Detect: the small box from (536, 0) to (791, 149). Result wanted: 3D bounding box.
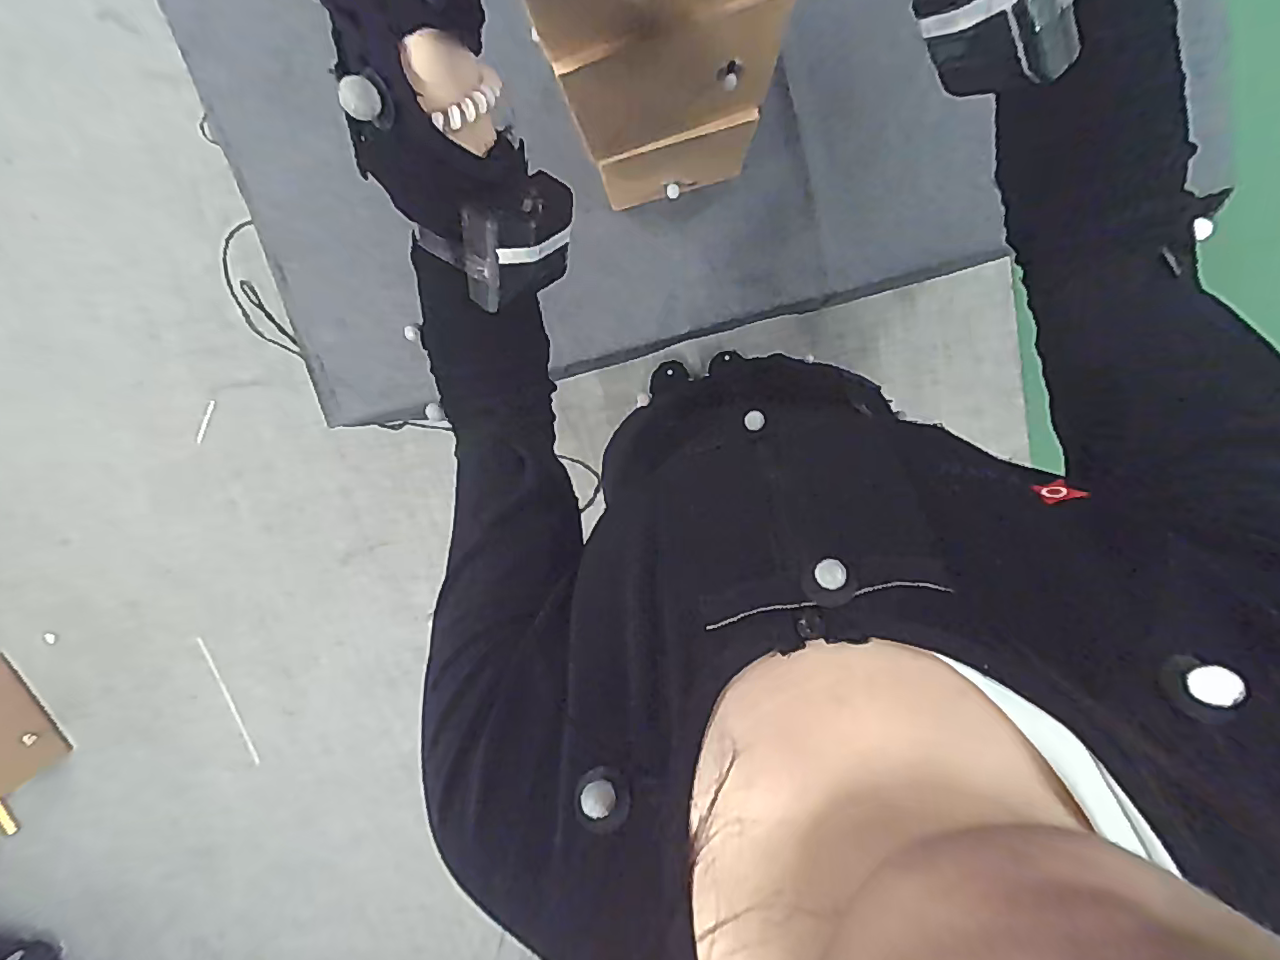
[{"bbox_3d":[0.006,-0.403,0.430,0.179,0.176,0.168,-15,99,7],"label":"small box"}]

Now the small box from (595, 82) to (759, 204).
[{"bbox_3d":[0.021,-0.434,0.589,0.168,0.176,0.179,-13,101,6],"label":"small box"}]
